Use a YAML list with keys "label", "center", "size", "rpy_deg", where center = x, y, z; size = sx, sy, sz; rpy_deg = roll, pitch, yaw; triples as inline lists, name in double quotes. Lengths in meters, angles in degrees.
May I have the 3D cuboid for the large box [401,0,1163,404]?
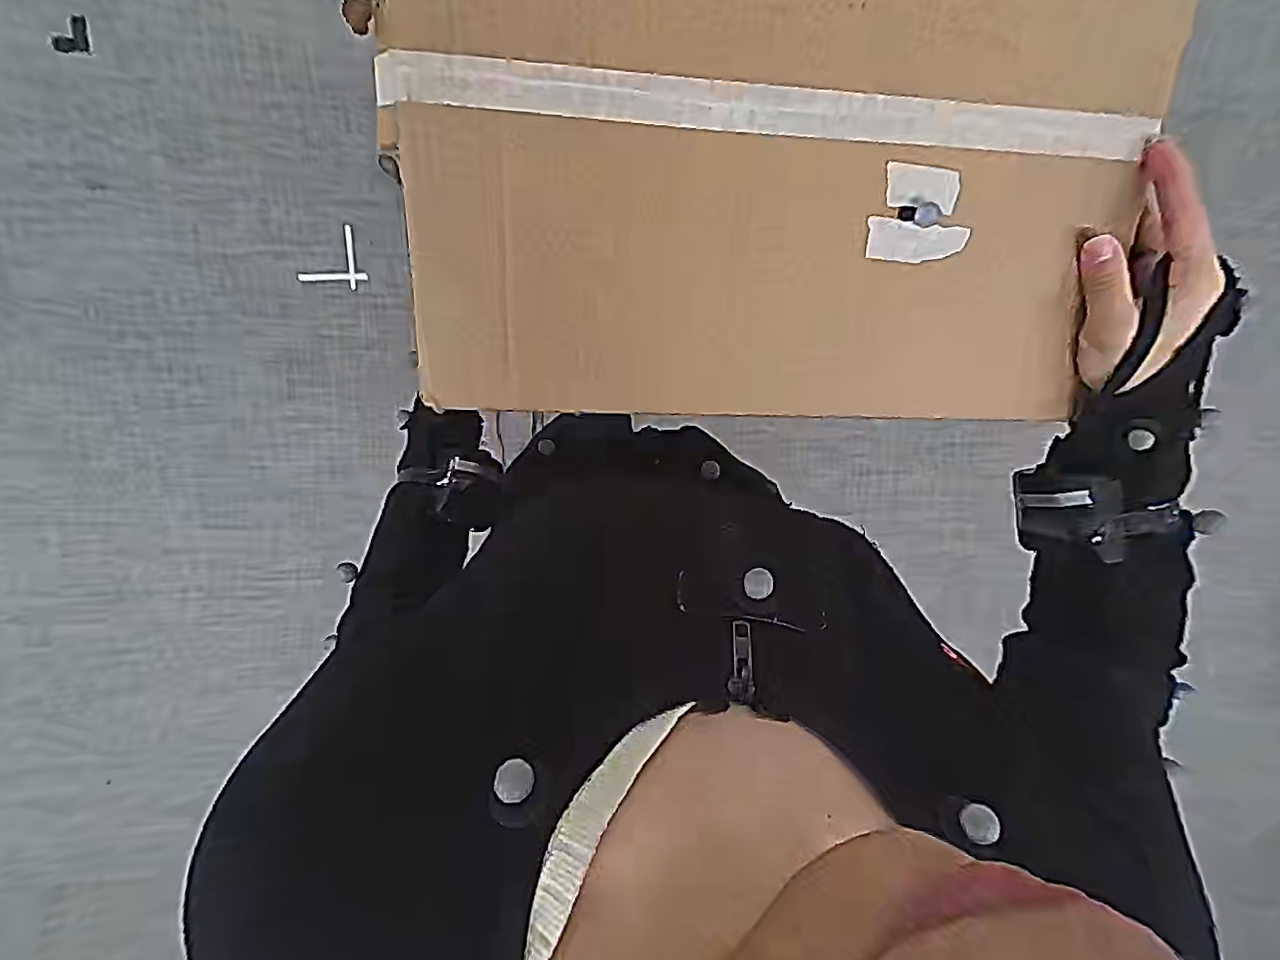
- label: "large box"
  center: [0.063, -0.239, 0.429]
  size: [0.408, 0.320, 0.320]
  rpy_deg: [-1, 108, -8]
